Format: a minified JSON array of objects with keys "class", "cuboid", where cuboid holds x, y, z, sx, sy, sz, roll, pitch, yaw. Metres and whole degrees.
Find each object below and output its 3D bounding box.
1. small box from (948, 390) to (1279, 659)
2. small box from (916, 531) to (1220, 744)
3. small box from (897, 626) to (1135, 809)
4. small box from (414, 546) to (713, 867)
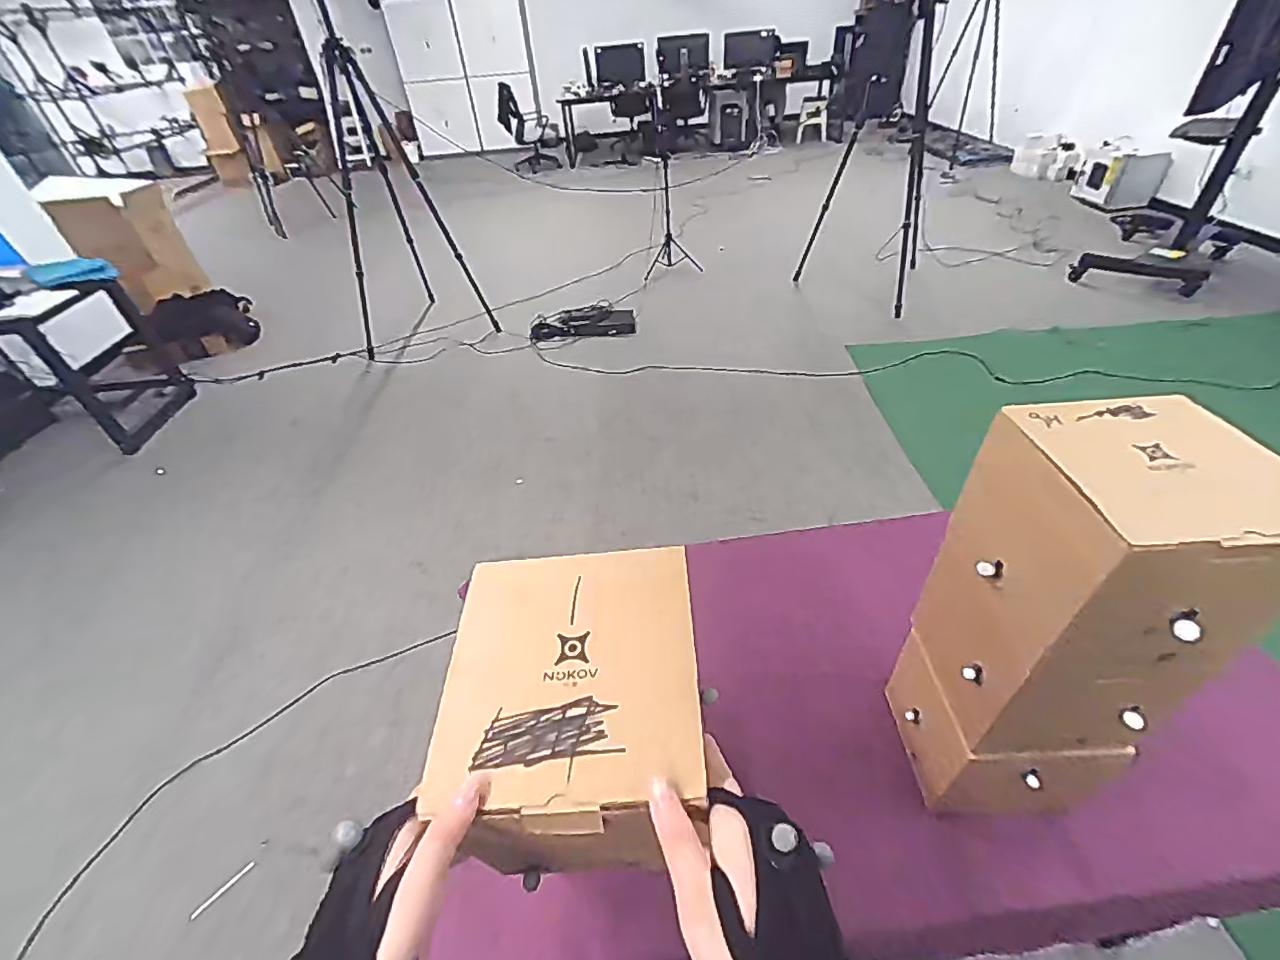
[{"class":"small box","cuboid":[0.408,0.044,0.476,0.168,0.176,0.179,-4,41,2]},{"class":"small box","cuboid":[0.427,0.168,0.583,0.168,0.176,0.179,-4,40,4]},{"class":"small box","cuboid":[0.443,0.296,0.681,0.179,0.176,0.168,-4,41,4]},{"class":"small box","cuboid":[-0.037,0.176,0.410,0.168,0.176,0.179,-6,44,5]}]
